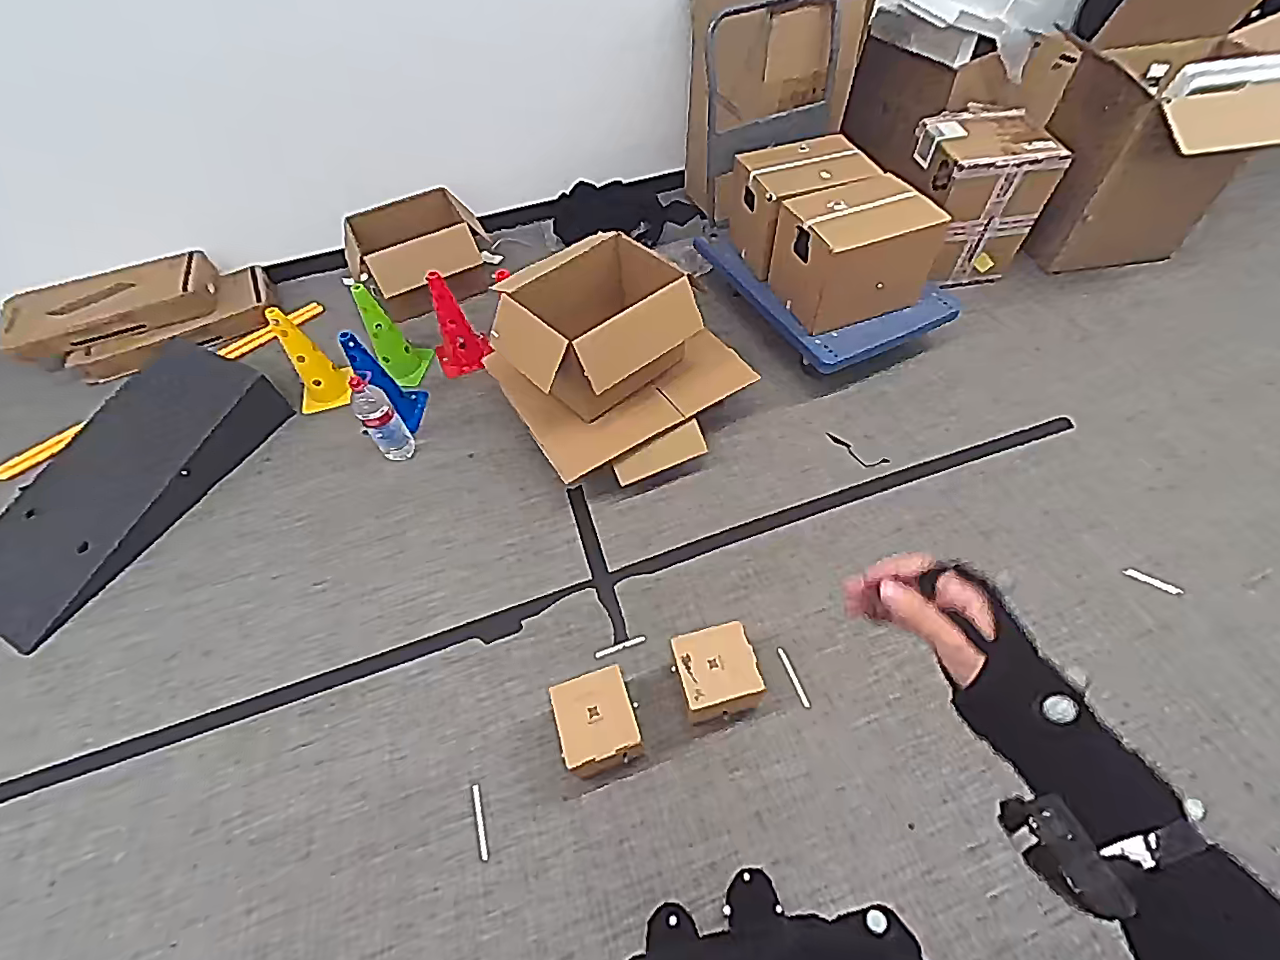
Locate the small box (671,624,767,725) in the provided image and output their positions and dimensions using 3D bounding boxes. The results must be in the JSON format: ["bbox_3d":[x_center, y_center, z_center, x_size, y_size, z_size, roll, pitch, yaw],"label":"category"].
[{"bbox_3d":[0.178,0.462,1.281,0.179,0.176,0.168,-12,56,-7],"label":"small box"}]

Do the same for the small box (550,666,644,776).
[{"bbox_3d":[-0.094,0.555,1.232,0.168,0.176,0.179,-17,55,-10],"label":"small box"}]
